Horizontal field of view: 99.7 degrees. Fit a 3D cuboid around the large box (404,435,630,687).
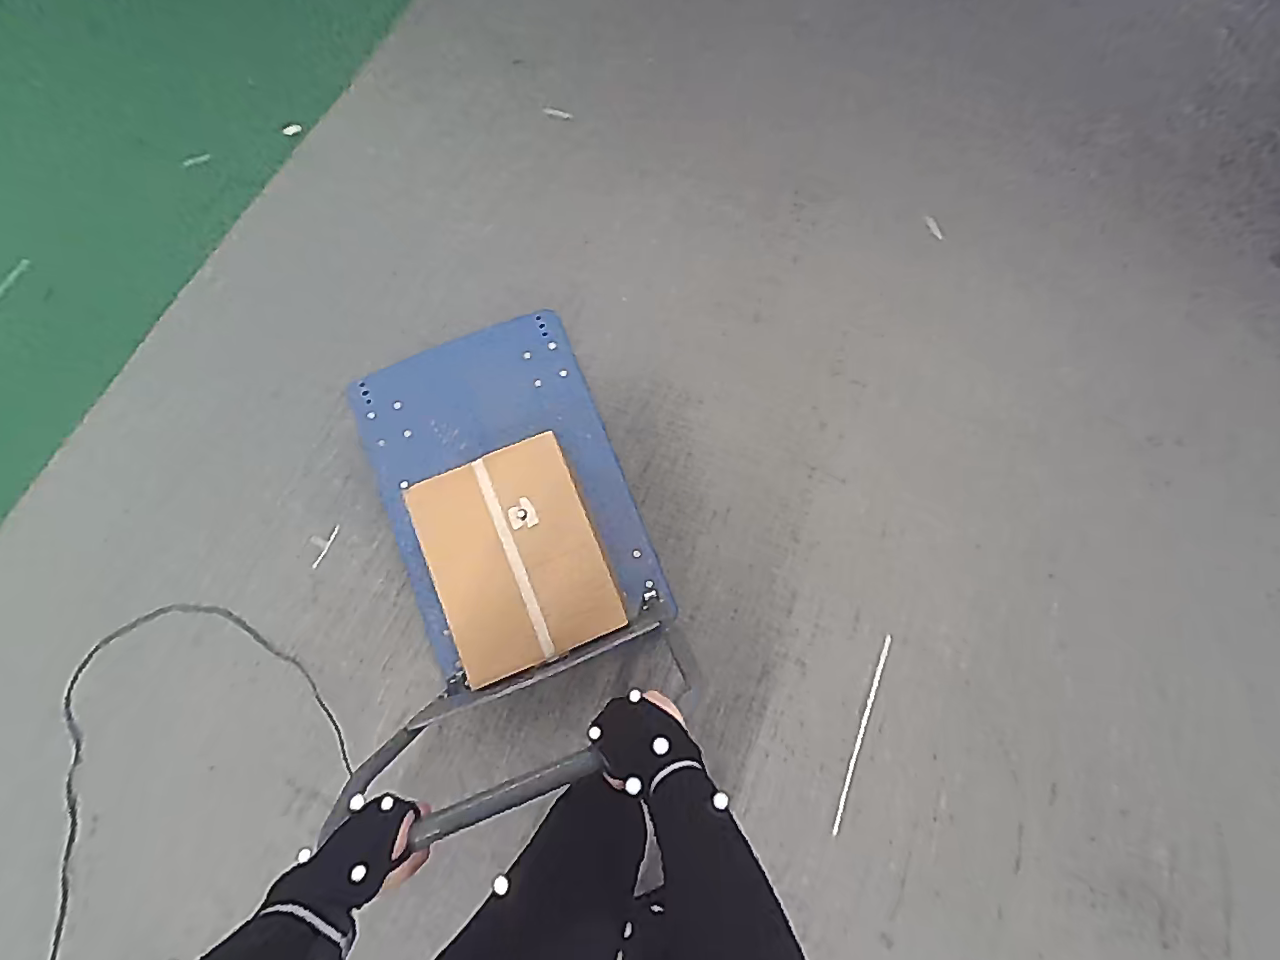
[{"bbox_3d":[-0.241,0.173,1.177,0.320,0.320,0.408,-23,81,-5],"label":"large box"}]
